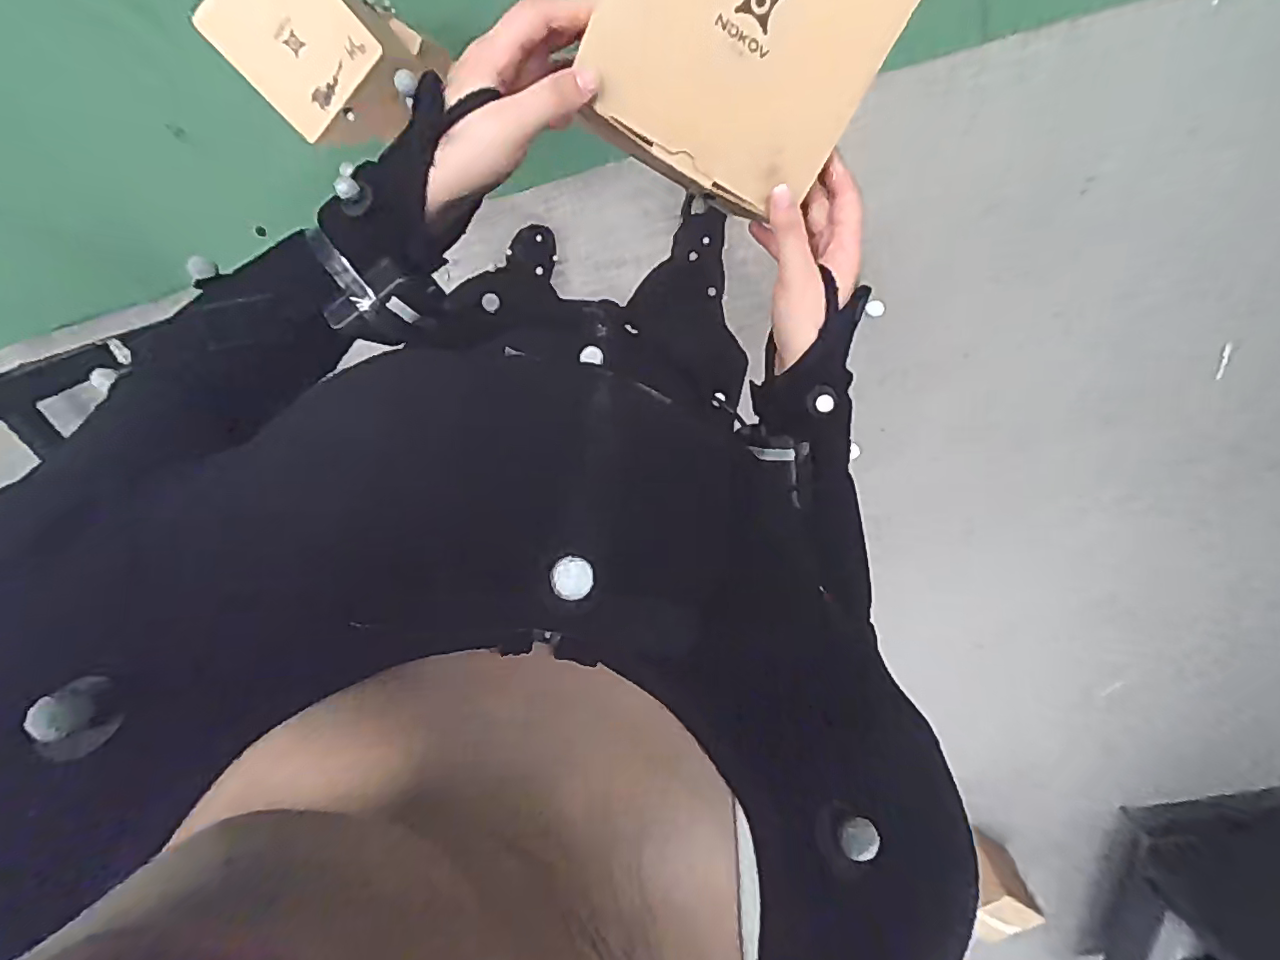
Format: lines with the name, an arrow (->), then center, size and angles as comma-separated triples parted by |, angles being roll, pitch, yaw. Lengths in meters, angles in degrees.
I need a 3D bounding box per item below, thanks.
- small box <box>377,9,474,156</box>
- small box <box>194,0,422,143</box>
small box -> -0.442, -0.757, 1.042 | 0.179, 0.176, 0.168 | 28, 116, -16
small box -> -0.444, -0.601, 0.753 | 0.168, 0.176, 0.179 | -36, 116, 19
